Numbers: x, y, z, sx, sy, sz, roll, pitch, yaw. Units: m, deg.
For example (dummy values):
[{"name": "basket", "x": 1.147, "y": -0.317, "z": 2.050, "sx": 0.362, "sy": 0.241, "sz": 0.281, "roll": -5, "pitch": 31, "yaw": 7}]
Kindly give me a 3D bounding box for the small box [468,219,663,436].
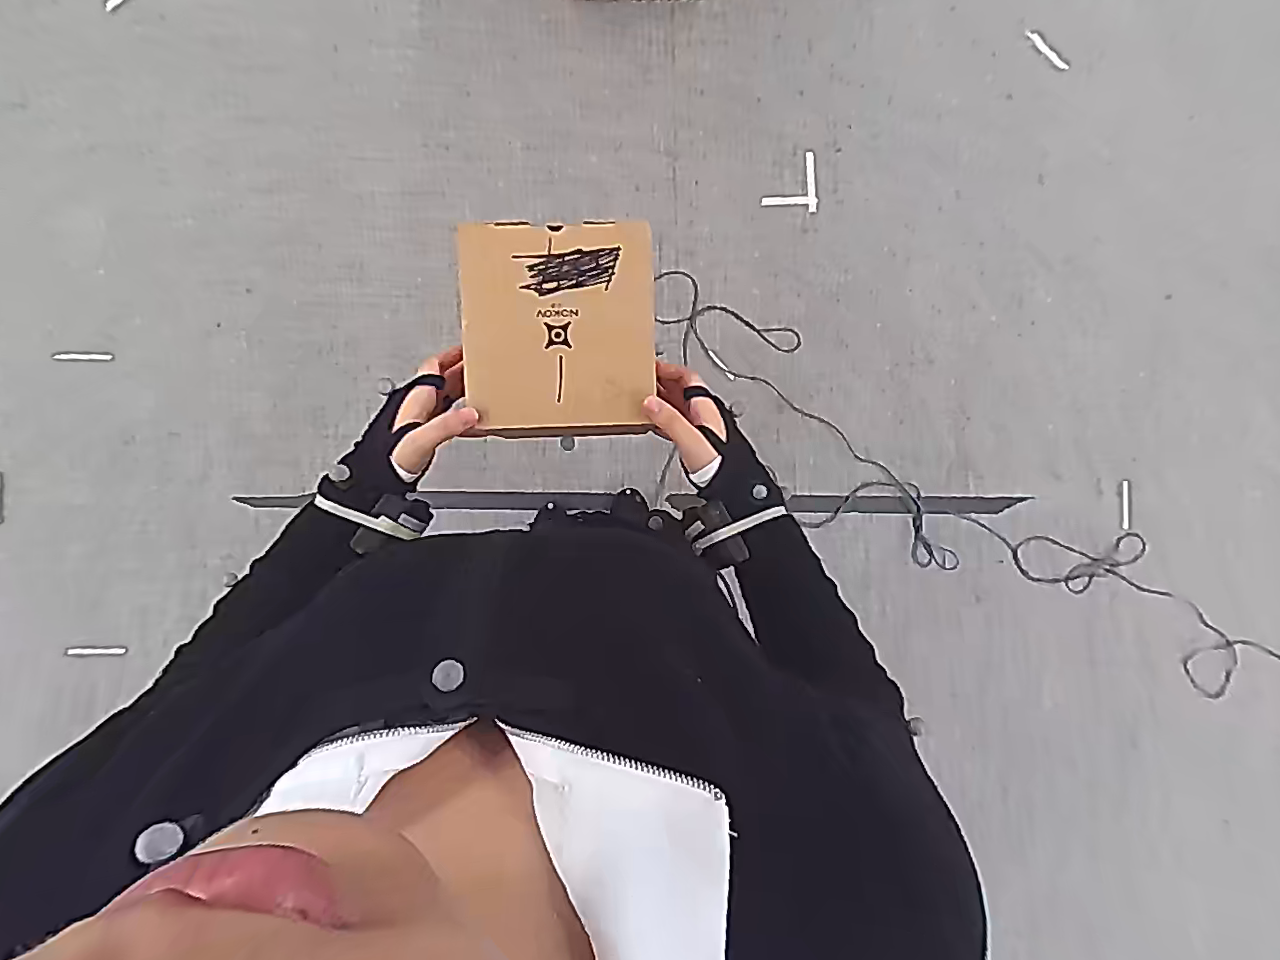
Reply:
[{"name": "small box", "x": -0.067, "y": -0.137, "z": 0.542, "sx": 0.168, "sy": 0.176, "sz": 0.179, "roll": -2, "pitch": 92, "yaw": -2}]
